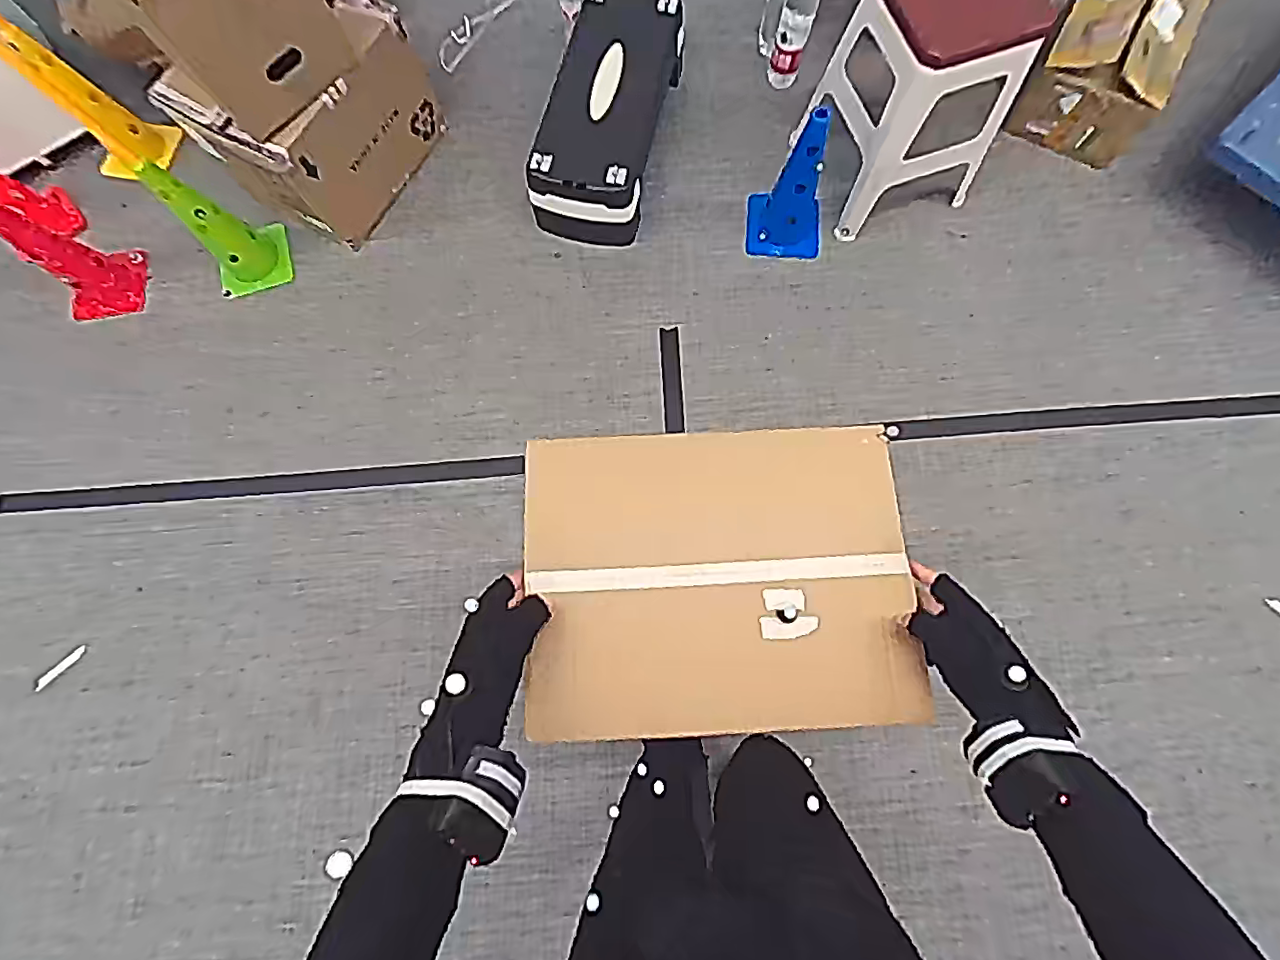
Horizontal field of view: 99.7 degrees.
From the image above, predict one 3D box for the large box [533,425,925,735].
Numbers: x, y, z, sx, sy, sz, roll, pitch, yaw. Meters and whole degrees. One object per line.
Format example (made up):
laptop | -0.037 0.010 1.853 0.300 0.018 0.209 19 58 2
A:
large box | 0.082 0.134 0.726 0.408 0.320 0.320 -3 76 -2
